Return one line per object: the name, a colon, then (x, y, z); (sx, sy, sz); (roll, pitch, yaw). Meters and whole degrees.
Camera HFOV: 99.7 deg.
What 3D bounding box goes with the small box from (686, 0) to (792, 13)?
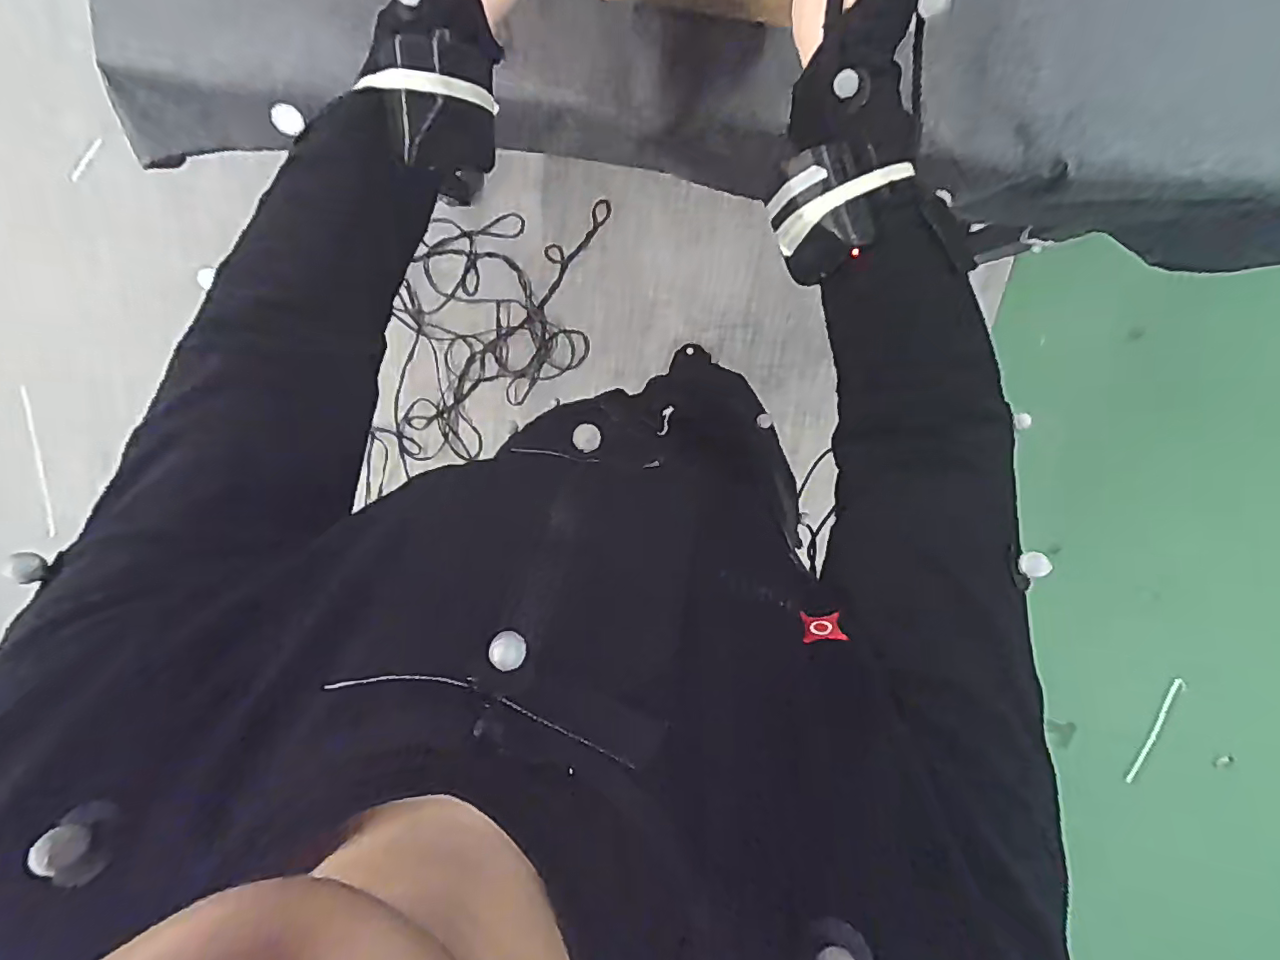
small box: (0.044, -0.452, 0.360); (0.179, 0.176, 0.168); (13, 113, 6)
